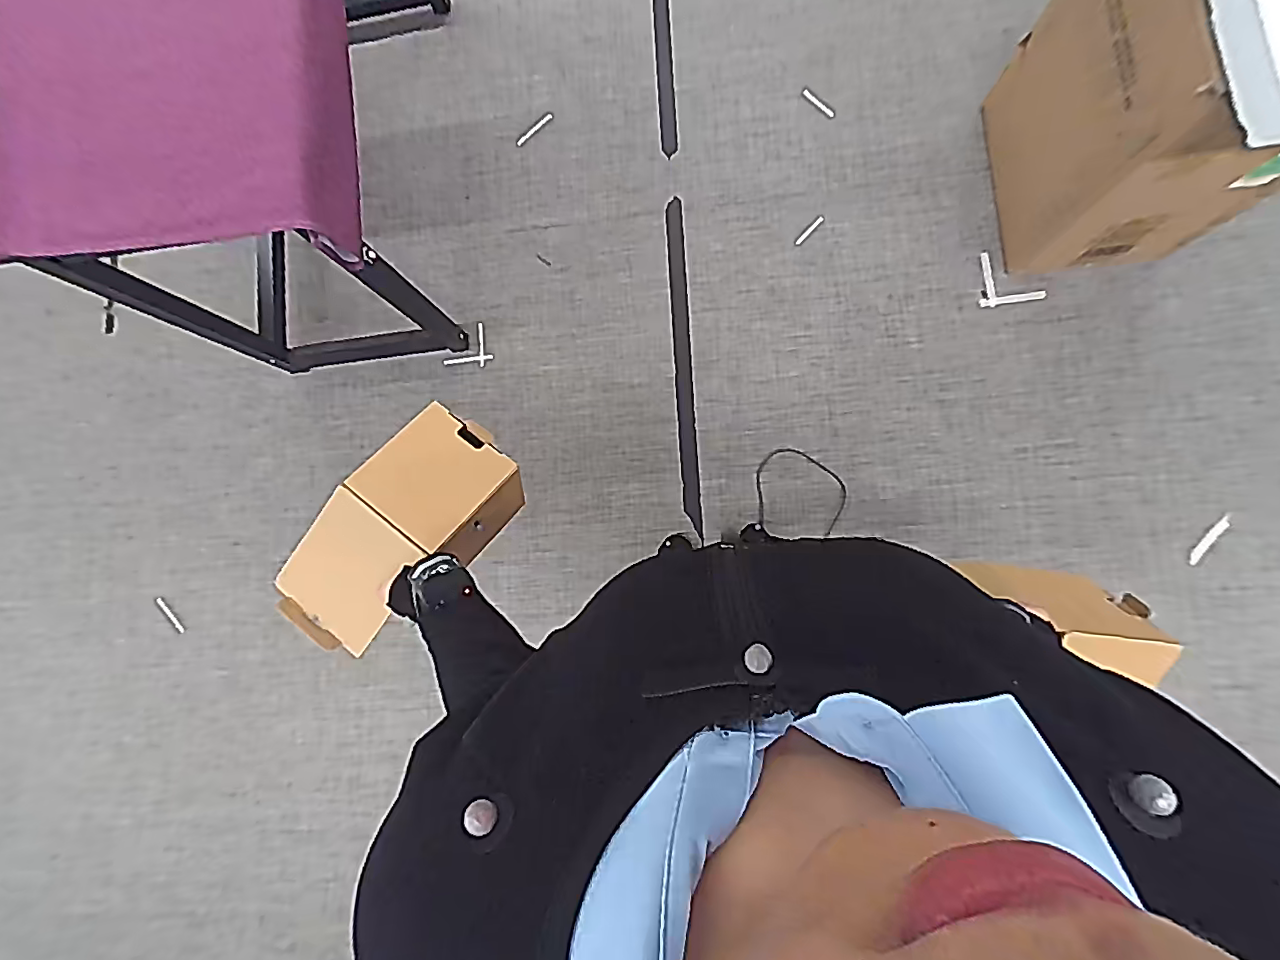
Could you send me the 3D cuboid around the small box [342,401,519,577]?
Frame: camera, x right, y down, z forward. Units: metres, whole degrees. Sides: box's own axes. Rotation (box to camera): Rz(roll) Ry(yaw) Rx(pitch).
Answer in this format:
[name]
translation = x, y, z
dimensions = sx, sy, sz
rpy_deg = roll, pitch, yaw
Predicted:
[small box]
translation = -0.298, 0.023, 0.818
dimensions = 0.168, 0.176, 0.179
rpy_deg = 37, 67, 7
